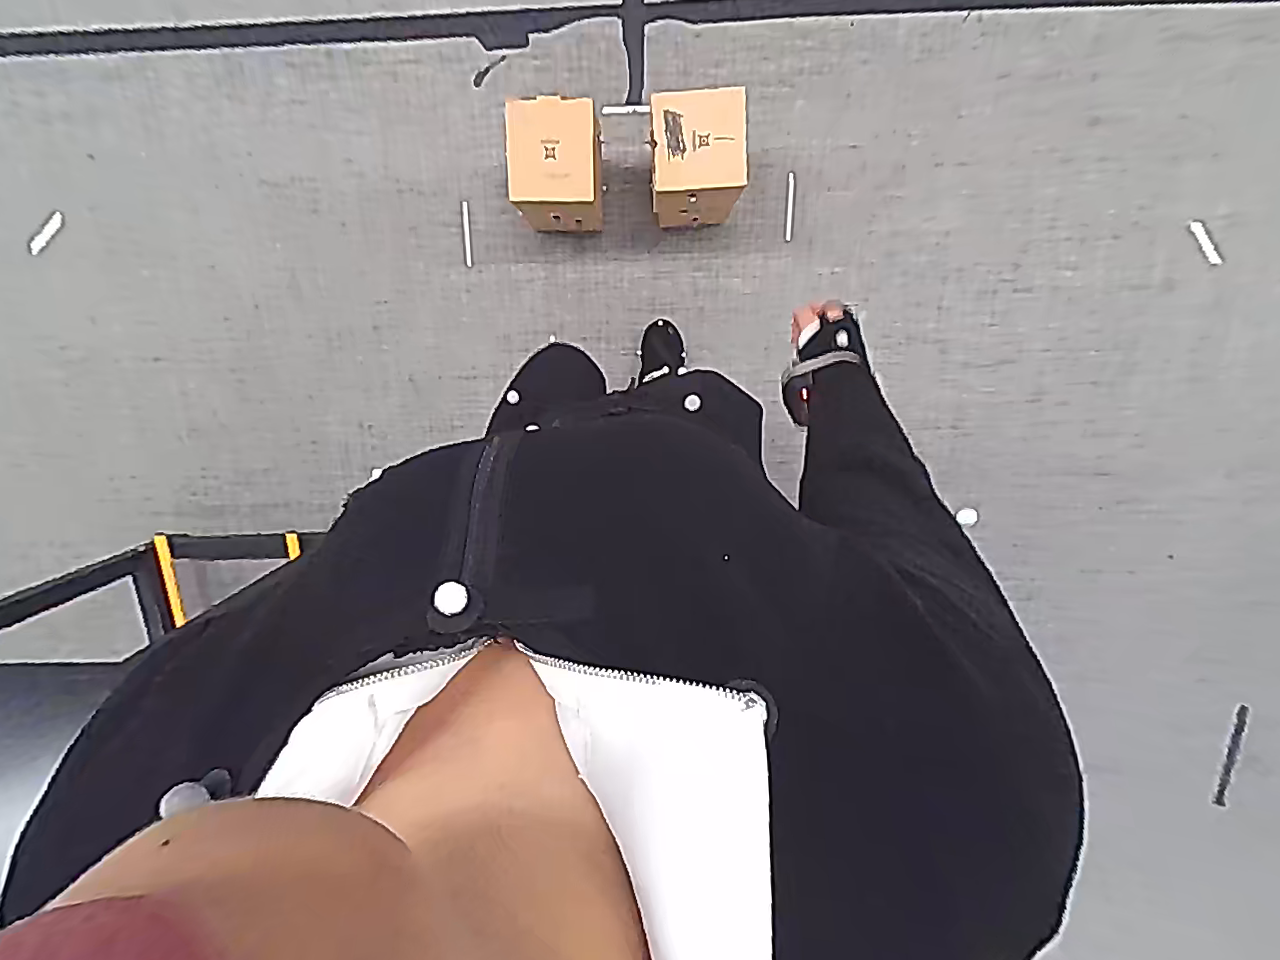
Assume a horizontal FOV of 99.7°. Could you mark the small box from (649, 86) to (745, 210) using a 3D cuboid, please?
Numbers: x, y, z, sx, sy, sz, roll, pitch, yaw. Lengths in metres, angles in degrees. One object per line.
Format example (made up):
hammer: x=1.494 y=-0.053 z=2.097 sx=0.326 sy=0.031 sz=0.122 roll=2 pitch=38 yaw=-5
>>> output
small box: x=0.108 y=-0.645 z=1.070 sx=0.179 sy=0.176 sz=0.168 roll=-3 pitch=104 yaw=1

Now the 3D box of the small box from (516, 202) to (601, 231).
small box: x=-0.180 y=-0.677 z=1.236 sx=0.179 sy=0.176 sz=0.168 roll=1 pitch=104 yaw=1

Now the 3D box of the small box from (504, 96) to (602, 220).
small box: x=-0.167 y=-0.633 z=1.079 sx=0.168 sy=0.176 sz=0.179 roll=1 pitch=106 yaw=2

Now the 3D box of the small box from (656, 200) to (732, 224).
small box: x=0.117 y=-0.689 z=1.230 sx=0.168 sy=0.176 sz=0.179 roll=-3 pitch=105 yaw=2
